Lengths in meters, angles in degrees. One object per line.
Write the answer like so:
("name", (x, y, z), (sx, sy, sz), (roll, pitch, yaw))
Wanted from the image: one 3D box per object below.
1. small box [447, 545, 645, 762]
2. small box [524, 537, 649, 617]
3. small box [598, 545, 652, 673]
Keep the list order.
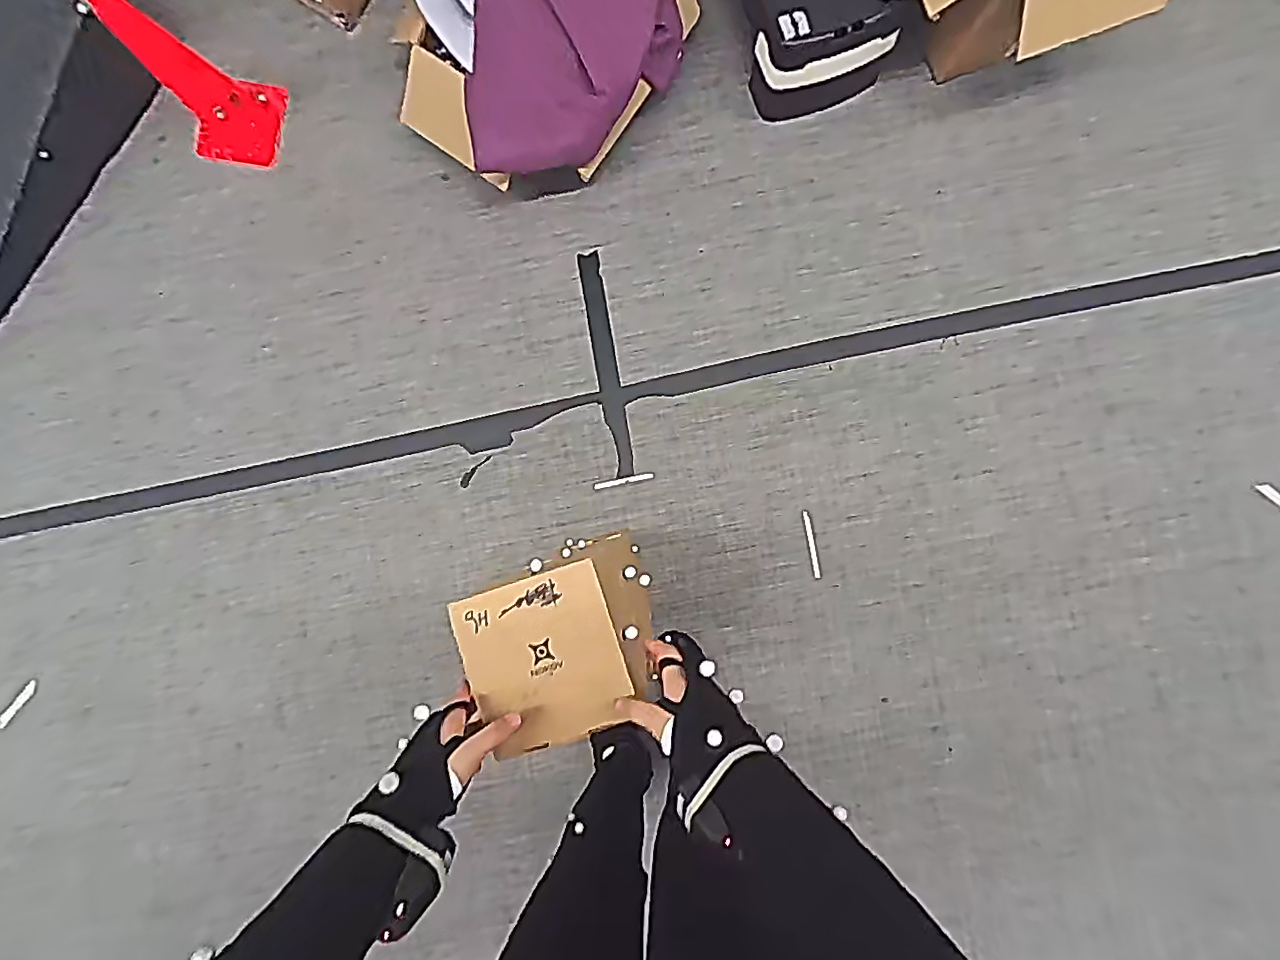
("small box", (-0.097, 0.191, 0.645), (0.168, 0.176, 0.179), (-19, 89, 2))
("small box", (-0.087, 0.206, 0.973), (0.179, 0.176, 0.168), (-16, 88, 2))
("small box", (-0.085, 0.202, 0.807), (0.168, 0.176, 0.179), (-19, 88, 2))
